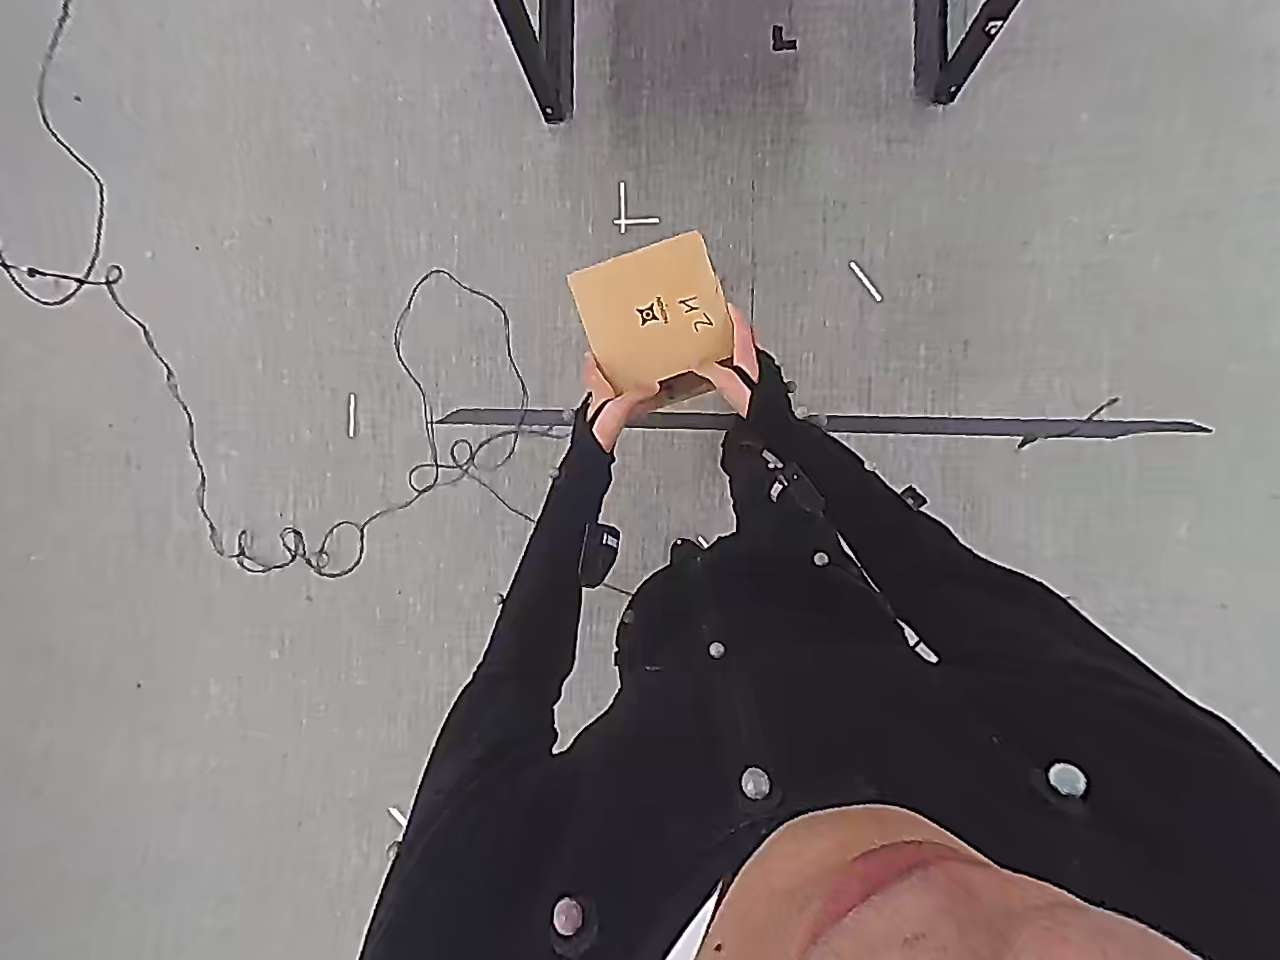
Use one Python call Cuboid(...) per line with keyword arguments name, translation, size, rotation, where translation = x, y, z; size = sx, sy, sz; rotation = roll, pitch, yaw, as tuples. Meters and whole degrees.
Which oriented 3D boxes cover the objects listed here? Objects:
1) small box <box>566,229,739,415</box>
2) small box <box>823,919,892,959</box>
Cuboid(name="small box", translation=(0.018, -0.198, 0.733), size=(0.179, 0.176, 0.168), rotation=(-18, 87, 1))
Cuboid(name="small box", translation=(0.614, 1.383, 1.509), size=(0.168, 0.176, 0.179), rotation=(-2, 90, 5))
